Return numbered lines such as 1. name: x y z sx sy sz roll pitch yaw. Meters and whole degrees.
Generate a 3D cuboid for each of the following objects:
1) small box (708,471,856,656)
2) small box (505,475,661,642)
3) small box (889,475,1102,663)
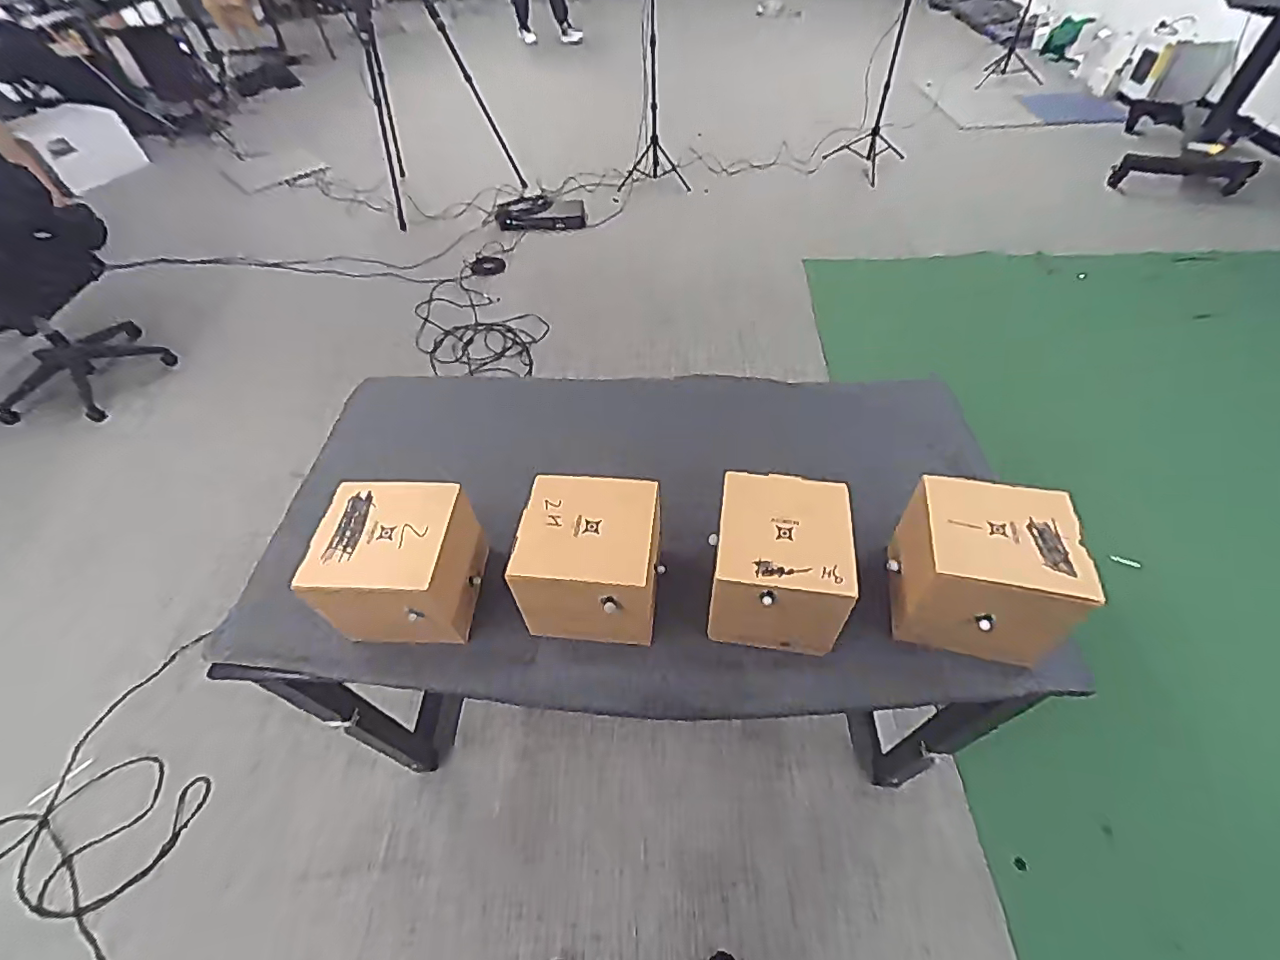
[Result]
1. small box: 0.186 0.115 0.740 0.168 0.176 0.179 7 49 9
2. small box: -0.065 0.113 0.757 0.179 0.176 0.168 3 49 7
3. small box: 0.445 0.120 0.714 0.179 0.176 0.168 9 48 13
